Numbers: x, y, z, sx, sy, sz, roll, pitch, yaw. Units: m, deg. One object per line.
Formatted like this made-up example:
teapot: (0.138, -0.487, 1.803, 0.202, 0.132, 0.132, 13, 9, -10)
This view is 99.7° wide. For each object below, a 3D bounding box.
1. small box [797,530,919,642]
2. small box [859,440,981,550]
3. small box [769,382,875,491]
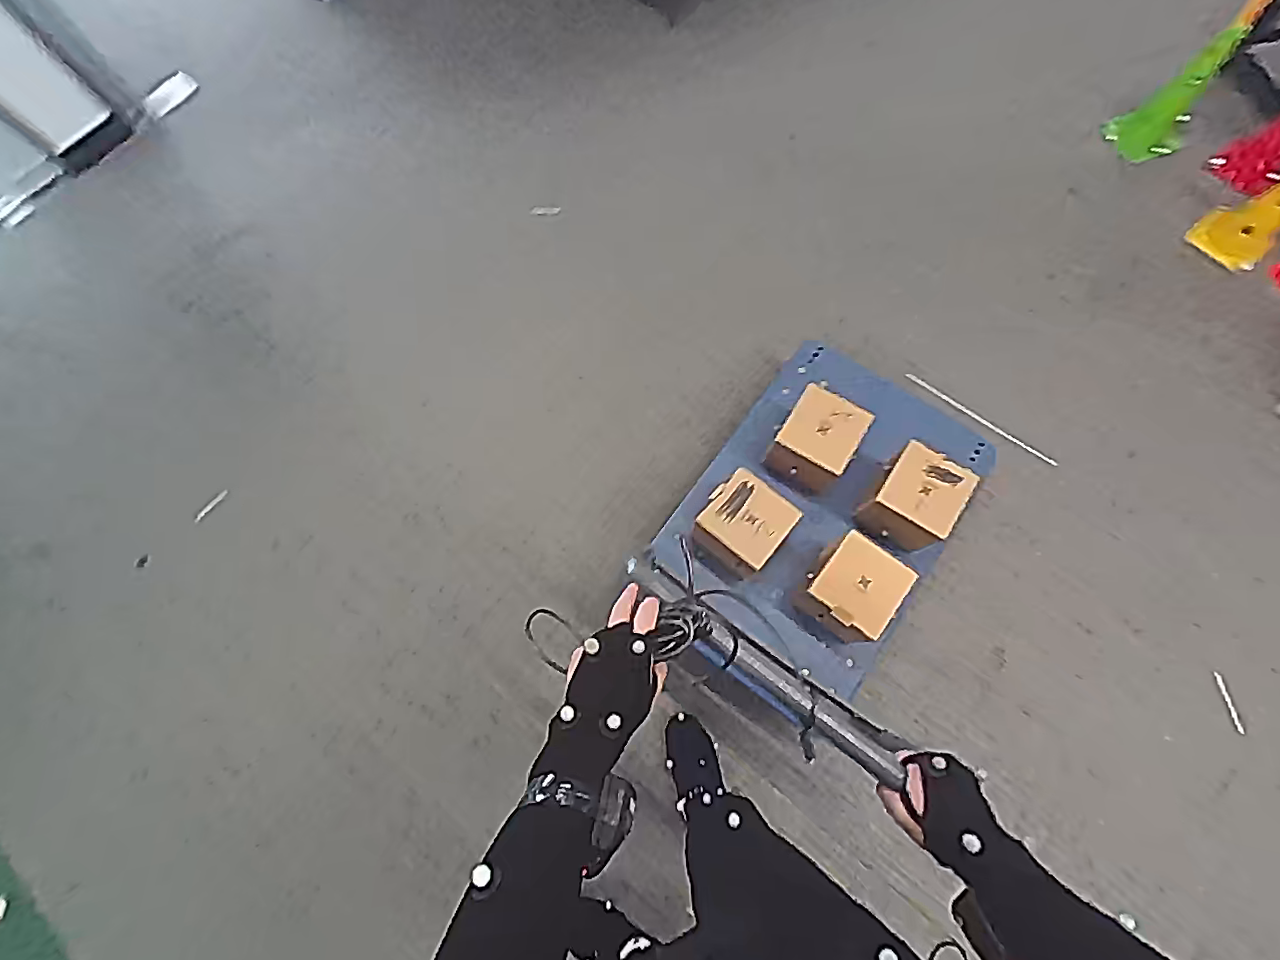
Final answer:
small box: (0.475, 0.240, 1.210, 0.168, 0.176, 0.179, 37, 78, 12)
small box: (0.642, 0.041, 1.263, 0.168, 0.176, 0.179, 34, 78, 12)
small box: (0.431, -0.097, 1.315, 0.168, 0.176, 0.179, 32, 76, 11)
